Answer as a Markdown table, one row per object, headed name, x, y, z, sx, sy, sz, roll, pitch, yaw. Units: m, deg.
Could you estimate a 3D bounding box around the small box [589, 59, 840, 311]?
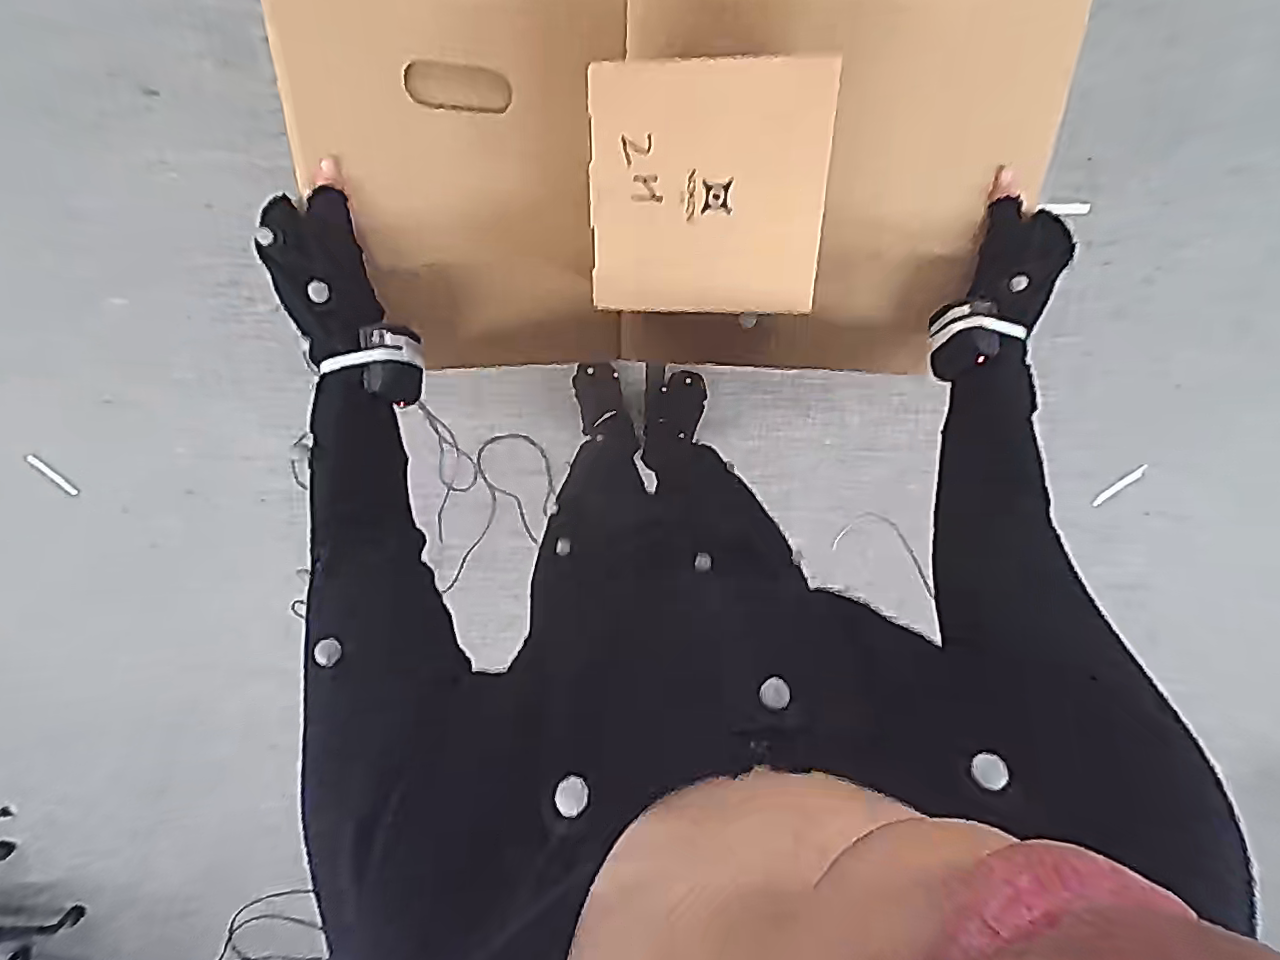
| name | x | y | z | sx | sy | sz | roll | pitch | yaw |
| --- | --- | --- | --- | --- | --- | --- | --- | --- | --- |
| small box | 0.058 | -0.246 | 0.476 | 0.179 | 0.176 | 0.168 | 4 | 113 | 7 |
